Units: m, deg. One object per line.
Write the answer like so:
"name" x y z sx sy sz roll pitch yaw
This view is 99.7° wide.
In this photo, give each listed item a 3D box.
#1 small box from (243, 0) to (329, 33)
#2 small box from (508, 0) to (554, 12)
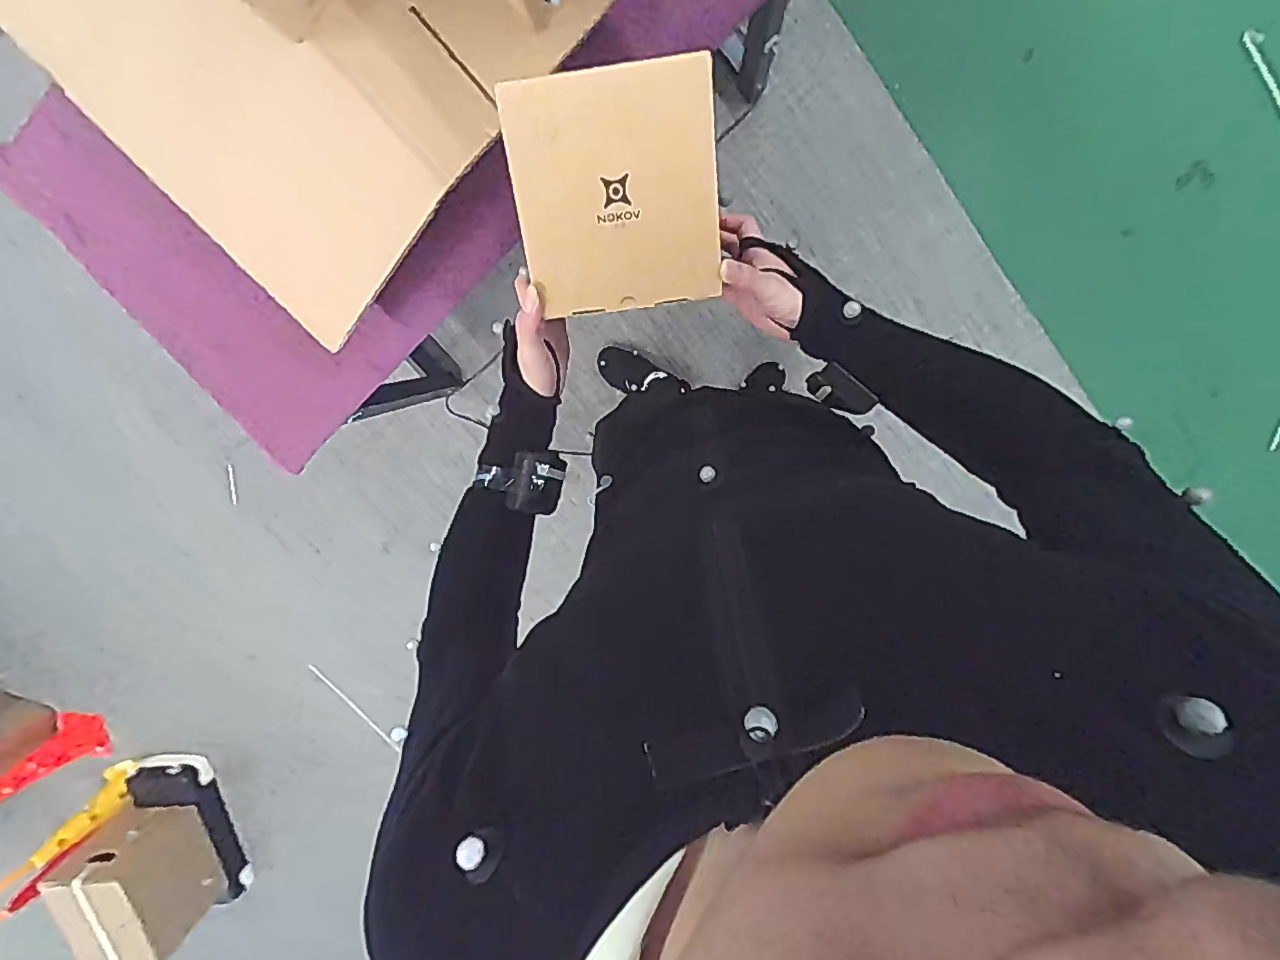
"small box" -0.390 -0.586 0.503 0.168 0.176 0.179 -40 99 11
"small box" -0.117 -0.586 0.489 0.168 0.176 0.179 -41 98 12
